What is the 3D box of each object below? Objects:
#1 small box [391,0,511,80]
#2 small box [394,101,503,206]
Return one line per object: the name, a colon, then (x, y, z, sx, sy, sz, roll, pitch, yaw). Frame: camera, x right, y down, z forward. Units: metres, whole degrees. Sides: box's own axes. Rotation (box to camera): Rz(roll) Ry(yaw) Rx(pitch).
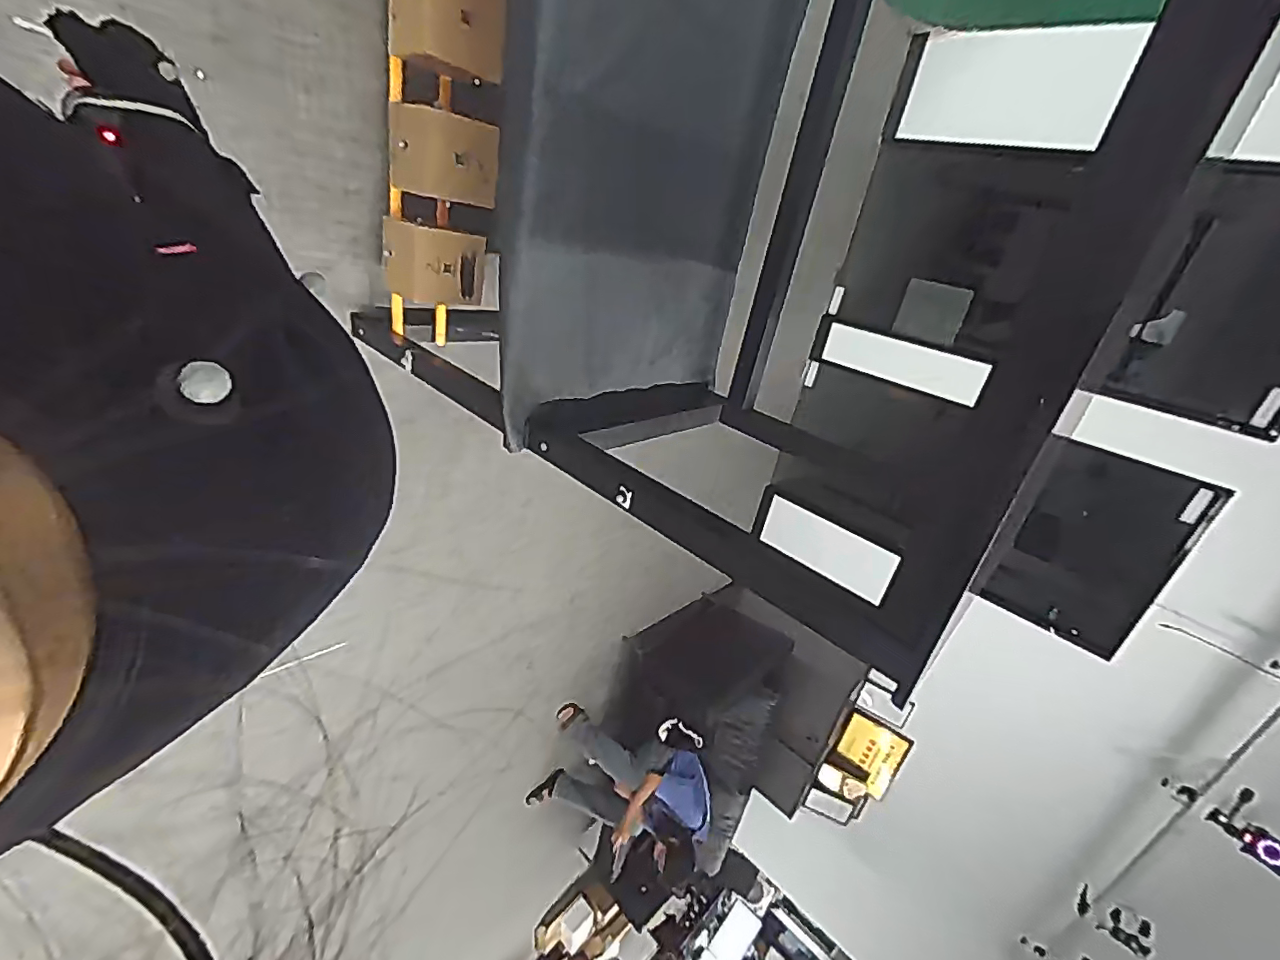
small box: (-0.390, -0.946, 1.107, 0.179, 0.176, 0.168, -14, 127, -46)
small box: (-0.434, -0.729, 1.213, 0.179, 0.176, 0.168, -16, 127, -45)
